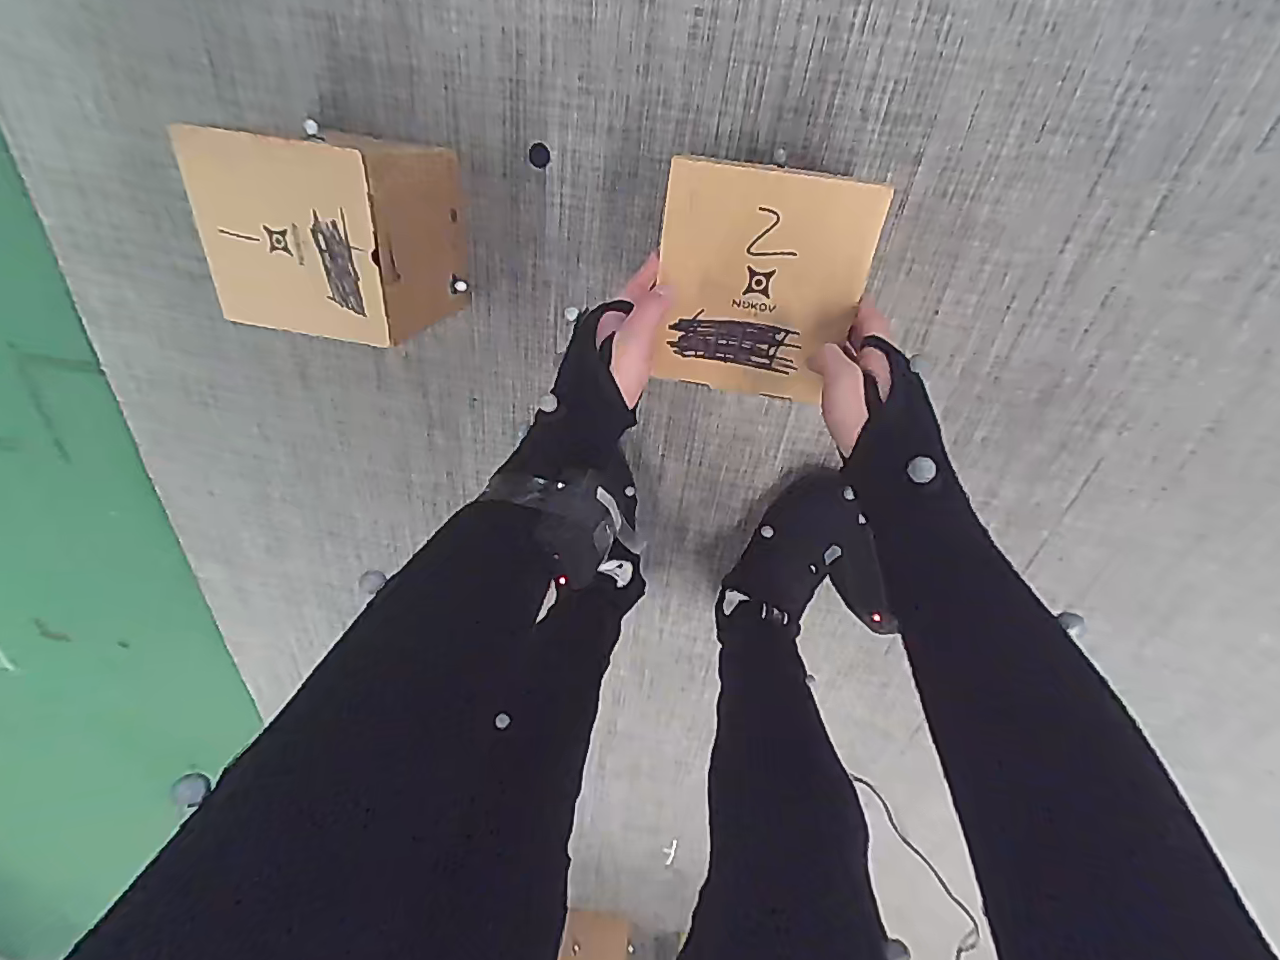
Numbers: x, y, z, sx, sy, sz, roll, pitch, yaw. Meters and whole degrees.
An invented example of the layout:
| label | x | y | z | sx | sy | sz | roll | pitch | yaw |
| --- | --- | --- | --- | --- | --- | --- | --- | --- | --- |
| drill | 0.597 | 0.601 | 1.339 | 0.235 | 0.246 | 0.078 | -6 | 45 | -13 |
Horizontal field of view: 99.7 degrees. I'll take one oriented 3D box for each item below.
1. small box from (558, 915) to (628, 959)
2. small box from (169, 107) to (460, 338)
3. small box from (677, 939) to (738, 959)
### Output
| label | x | y | z | sx | sy | sz | roll | pitch | yaw |
| --- | --- | --- | --- | --- | --- | --- | --- | --- | --- |
| small box | -0.133 | 1.342 | 1.495 | 0.179 | 0.176 | 0.168 | 4 | 123 | 7 |
| small box | -0.292 | -0.257 | 0.538 | 0.179 | 0.176 | 0.168 | 11 | 122 | 4 |
| small box | 0.180 | 1.389 | 1.467 | 0.168 | 0.176 | 0.179 | 2 | 122 | 9 |
